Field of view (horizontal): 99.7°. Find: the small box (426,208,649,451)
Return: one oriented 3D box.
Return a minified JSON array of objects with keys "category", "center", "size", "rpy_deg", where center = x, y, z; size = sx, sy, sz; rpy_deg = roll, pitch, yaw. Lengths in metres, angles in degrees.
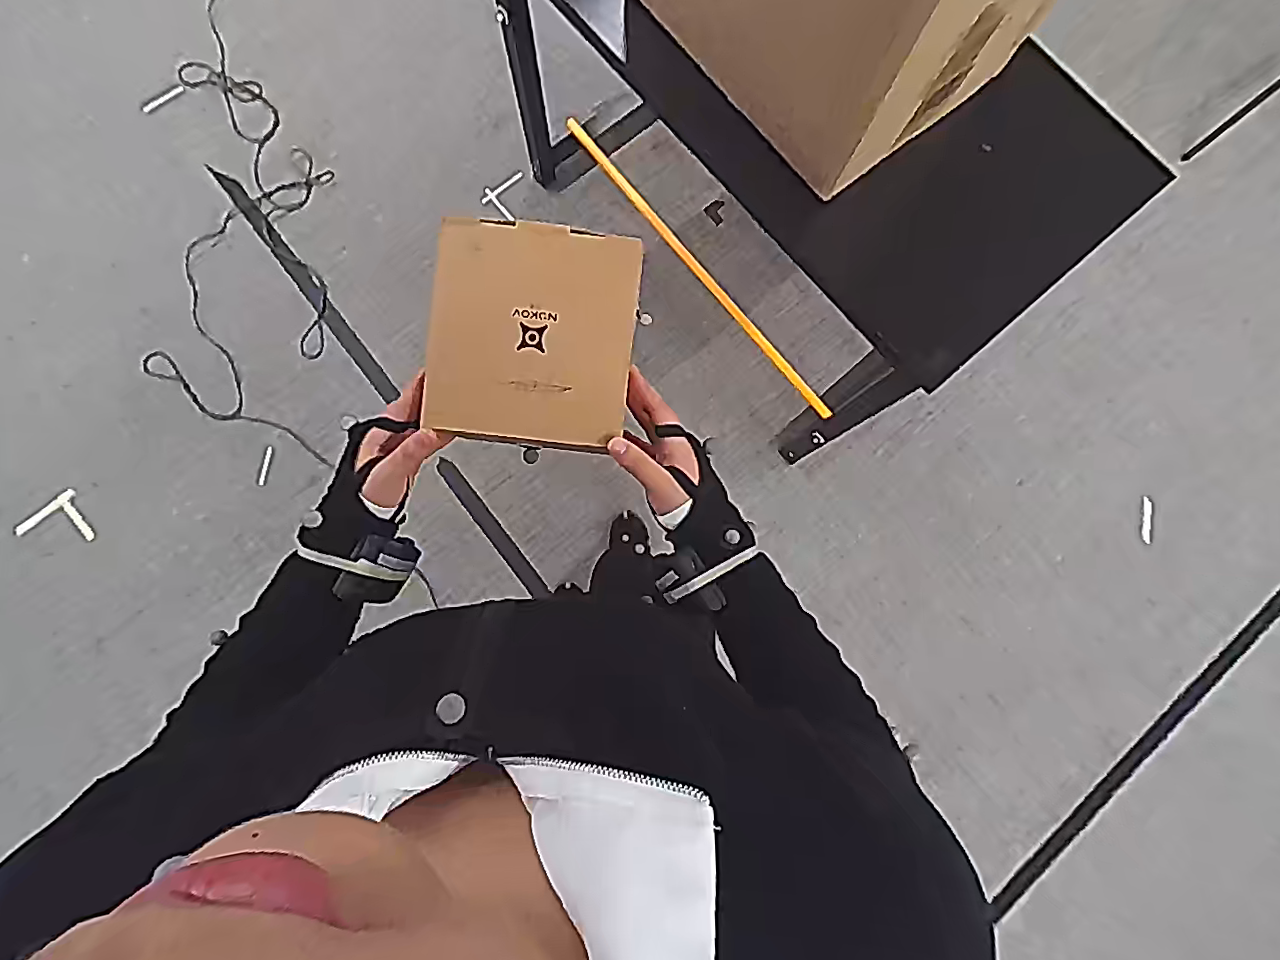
[{"category":"small box","center":[-0.087,-0.126,0.519],"size":[0.168,0.176,0.179],"rpy_deg":[6,91,-2]}]
